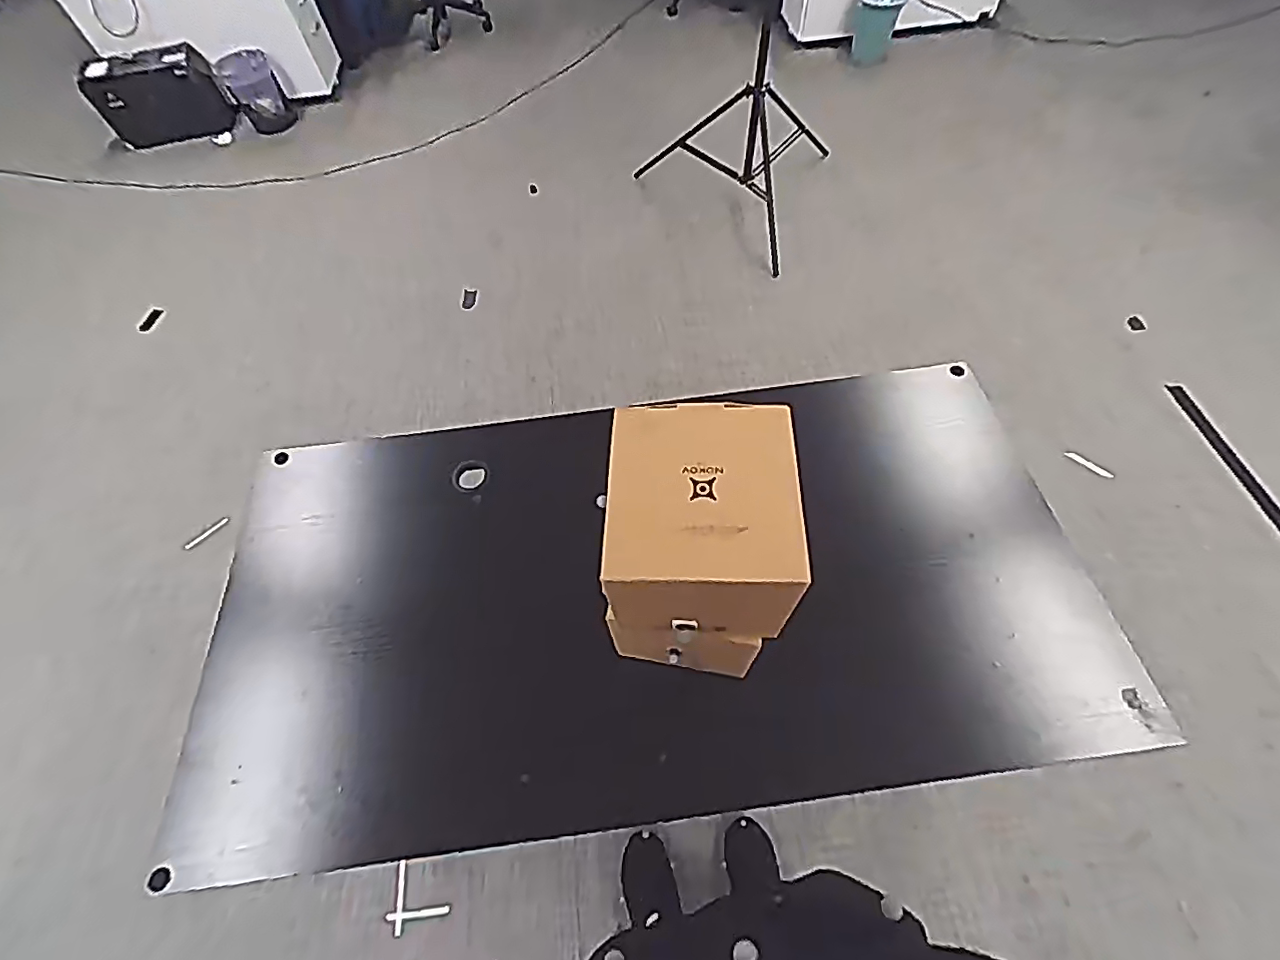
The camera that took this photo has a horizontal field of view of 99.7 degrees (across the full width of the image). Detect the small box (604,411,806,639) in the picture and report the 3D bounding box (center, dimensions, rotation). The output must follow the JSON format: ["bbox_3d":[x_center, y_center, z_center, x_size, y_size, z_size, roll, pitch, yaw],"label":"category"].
[{"bbox_3d":[0.059,0.050,0.543,0.168,0.176,0.179,-1,60,4],"label":"small box"}]

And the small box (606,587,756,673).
[{"bbox_3d":[0.063,0.131,0.684,0.168,0.176,0.179,8,60,8],"label":"small box"}]
